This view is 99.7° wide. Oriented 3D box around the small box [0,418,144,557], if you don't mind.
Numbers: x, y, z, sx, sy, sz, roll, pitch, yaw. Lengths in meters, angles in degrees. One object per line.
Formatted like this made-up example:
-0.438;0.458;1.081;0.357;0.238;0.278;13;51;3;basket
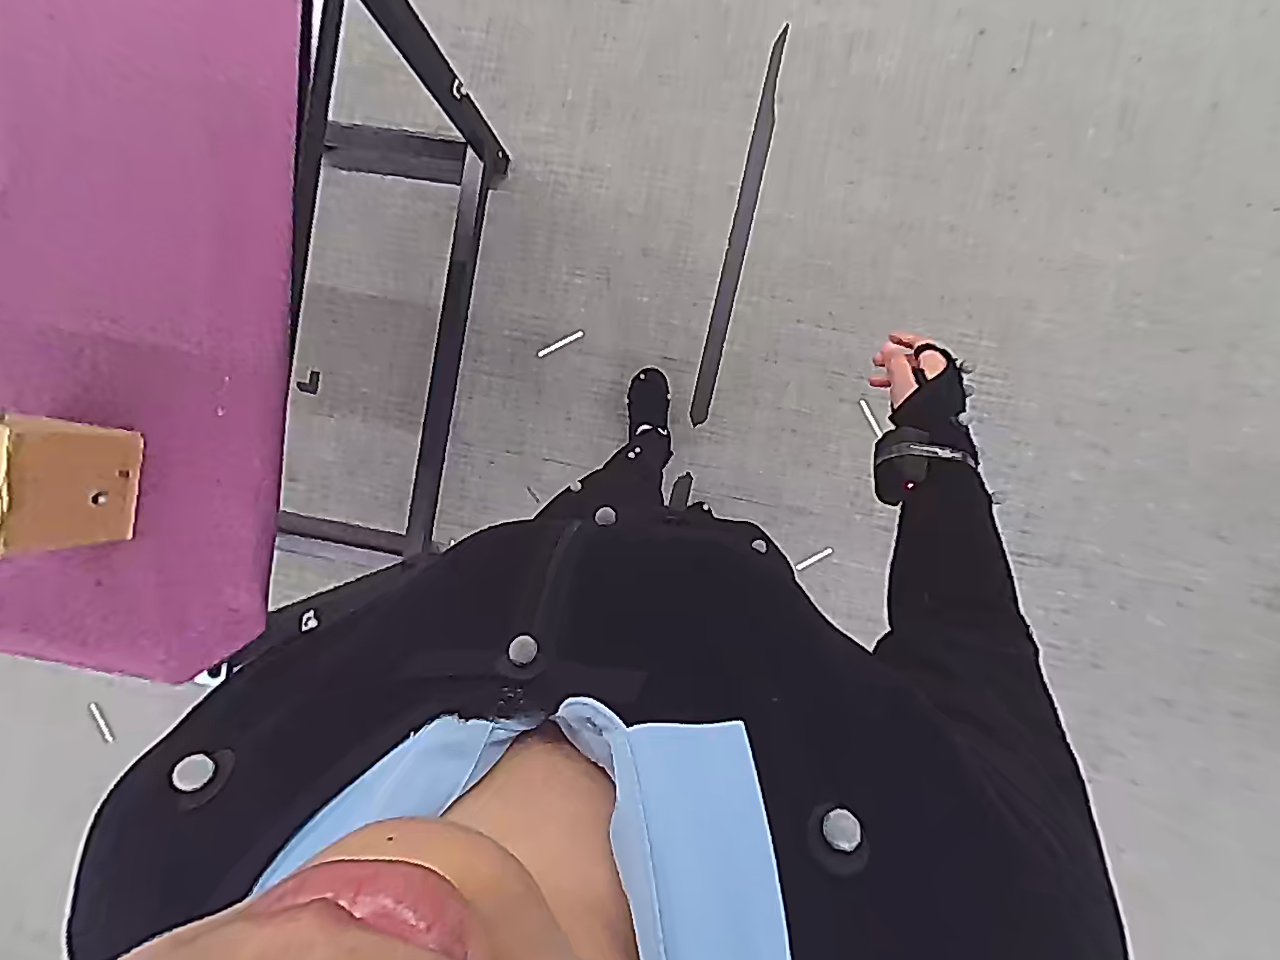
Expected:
-0.864;0.004;0.757;0.179;0.176;0.168;9;92;4;small box
